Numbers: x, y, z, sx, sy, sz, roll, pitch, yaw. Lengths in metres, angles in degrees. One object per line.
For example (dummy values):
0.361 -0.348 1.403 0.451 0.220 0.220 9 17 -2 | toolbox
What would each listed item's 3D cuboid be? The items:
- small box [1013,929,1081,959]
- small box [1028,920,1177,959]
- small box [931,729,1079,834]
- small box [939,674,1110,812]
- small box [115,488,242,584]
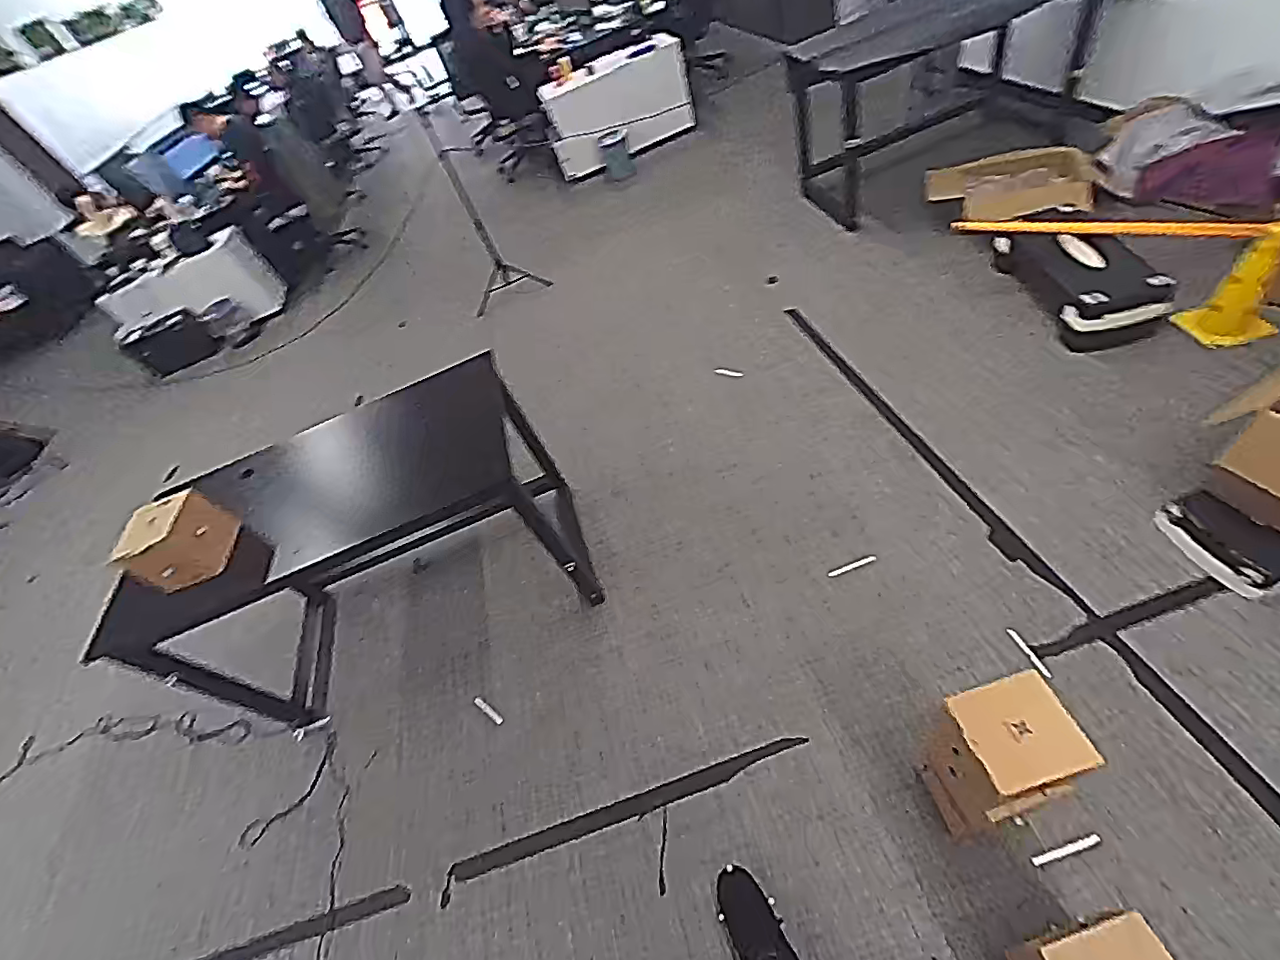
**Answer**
0.825 0.951 0.989 0.179 0.176 0.168 -25 46 2 | small box
0.777 0.841 0.875 0.179 0.176 0.168 -23 47 2 | small box
0.722 0.590 1.099 0.168 0.176 0.179 -22 49 2 | small box
0.680 0.482 0.985 0.179 0.176 0.168 -21 49 4 | small box
-1.212 0.156 1.438 0.168 0.176 0.179 -20 48 5 | small box
